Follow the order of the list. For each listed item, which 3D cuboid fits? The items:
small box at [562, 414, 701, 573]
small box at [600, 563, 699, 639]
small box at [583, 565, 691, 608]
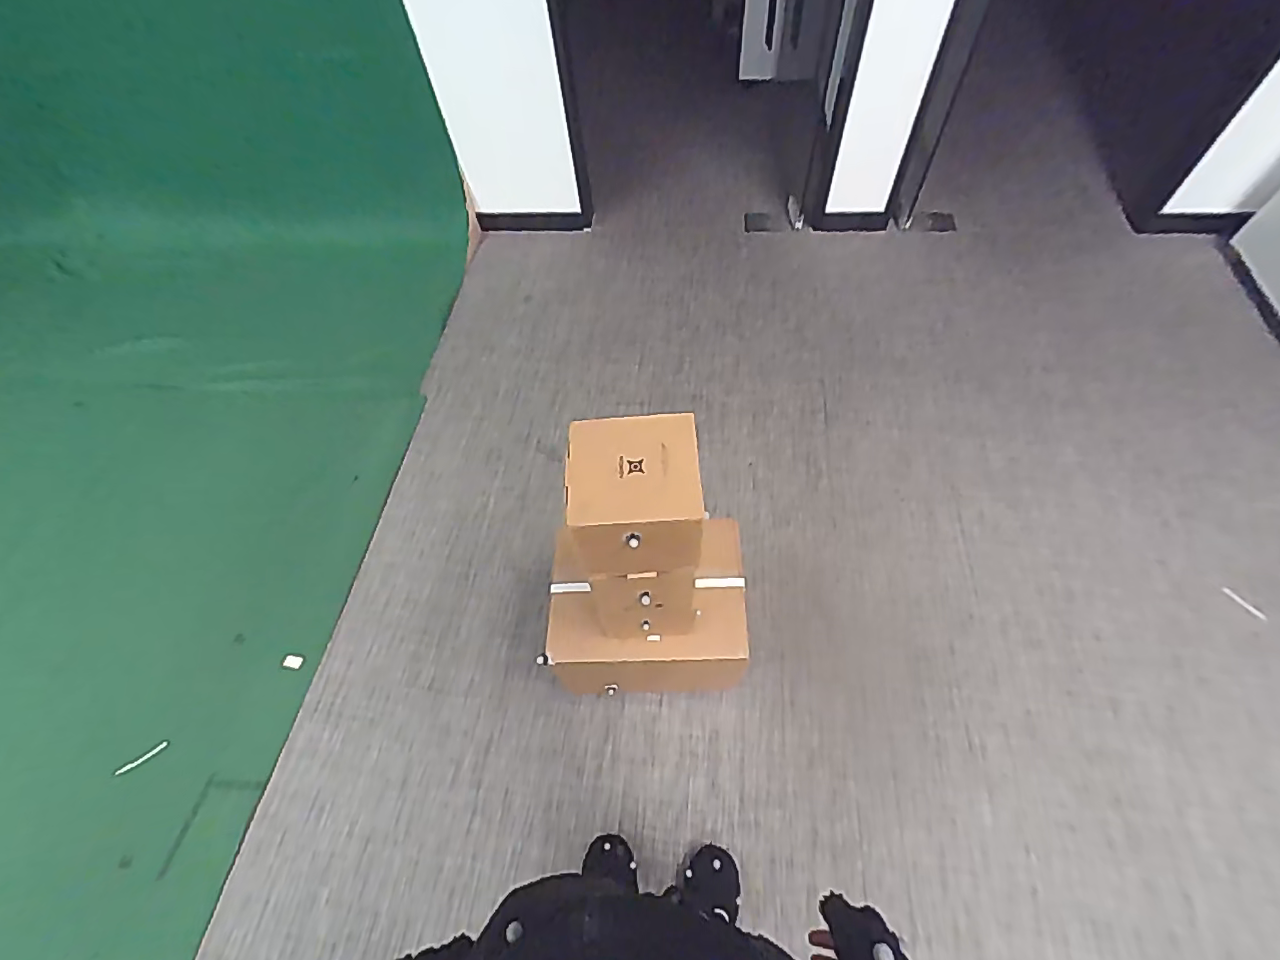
[{"bbox_3d":[-0.008,0.026,0.771,0.179,0.176,0.168,-4,59,1],"label":"small box"},{"bbox_3d":[0.014,0.199,1.046,0.179,0.176,0.168,-6,58,0],"label":"small box"},{"bbox_3d":[-0.002,0.110,0.910,0.168,0.176,0.179,-5,59,2],"label":"small box"}]
